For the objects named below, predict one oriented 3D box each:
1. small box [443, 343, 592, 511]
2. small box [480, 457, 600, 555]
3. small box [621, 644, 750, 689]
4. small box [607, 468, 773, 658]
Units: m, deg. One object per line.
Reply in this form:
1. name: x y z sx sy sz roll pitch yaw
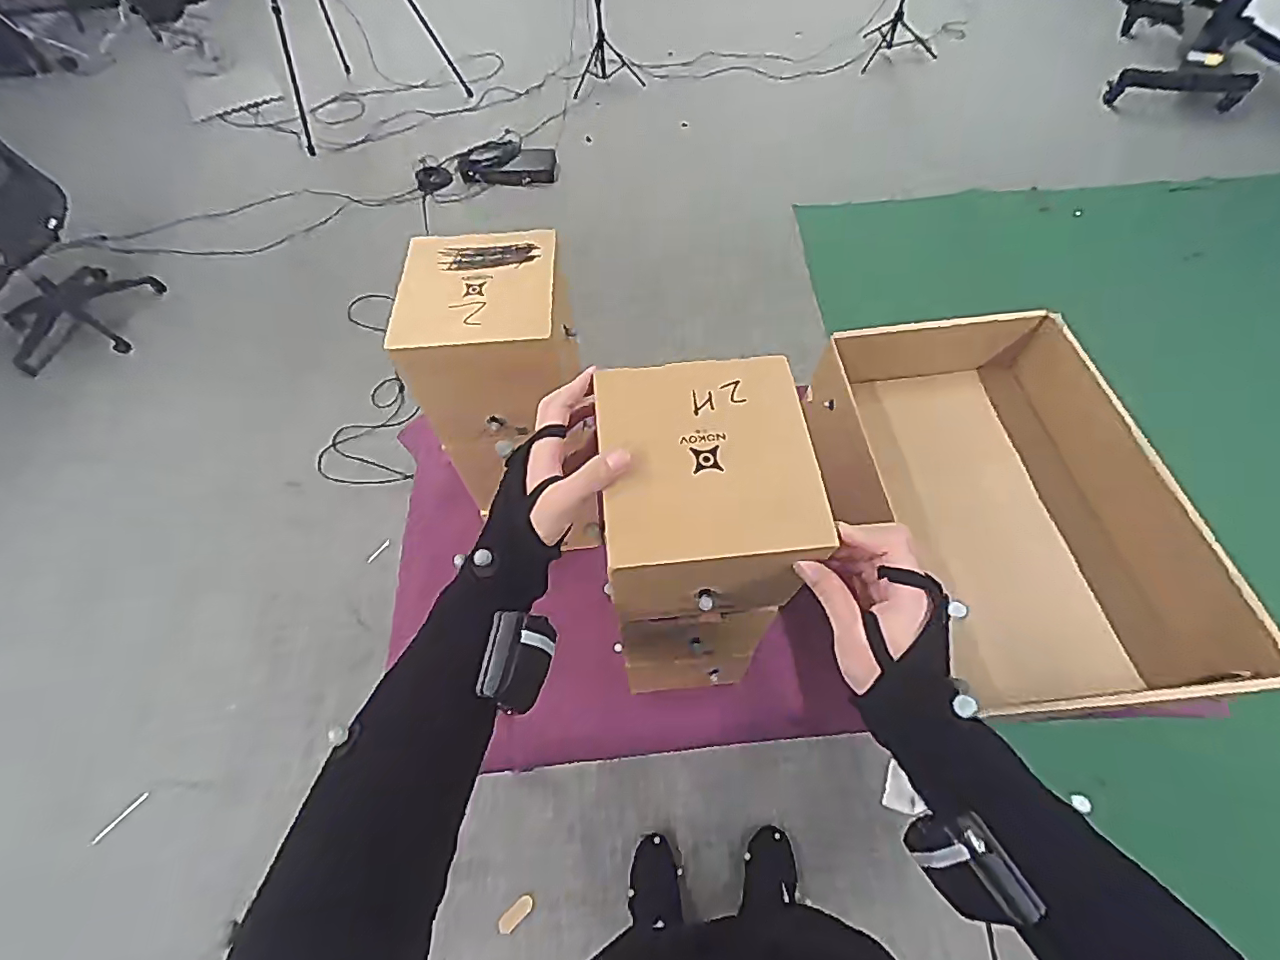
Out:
1. small box: -0.162 -0.073 0.777 0.168 0.176 0.179 -3 59 1
2. small box: -0.162 0.017 0.915 0.168 0.176 0.179 -7 58 -1
3. small box: 0.057 0.198 0.790 0.168 0.176 0.179 -5 57 -1
4. small box: 0.051 0.108 0.654 0.168 0.176 0.179 -5 58 -2
